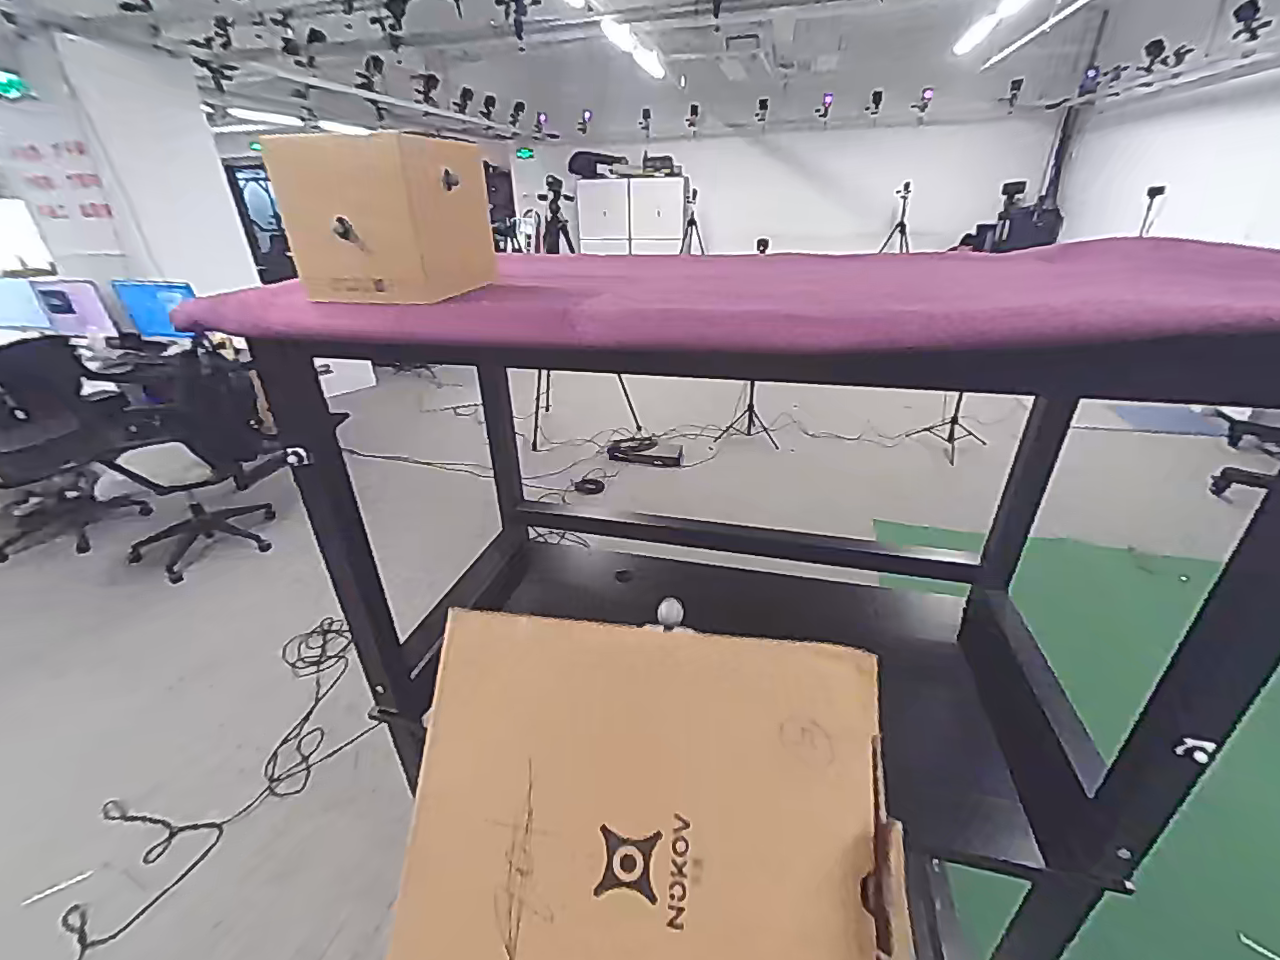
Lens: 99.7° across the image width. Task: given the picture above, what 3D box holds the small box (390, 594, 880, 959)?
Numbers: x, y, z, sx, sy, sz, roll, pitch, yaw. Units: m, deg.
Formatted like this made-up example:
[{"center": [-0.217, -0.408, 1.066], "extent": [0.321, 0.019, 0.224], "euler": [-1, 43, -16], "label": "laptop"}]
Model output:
[{"center": [0.004, 0.154, 0.280], "extent": [0.179, 0.168, 0.176], "euler": [4, -16, 5], "label": "small box"}]

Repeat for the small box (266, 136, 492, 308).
[{"center": [-0.295, -0.311, 0.660], "extent": [0.168, 0.176, 0.179], "euler": [6, 28, 11], "label": "small box"}]
